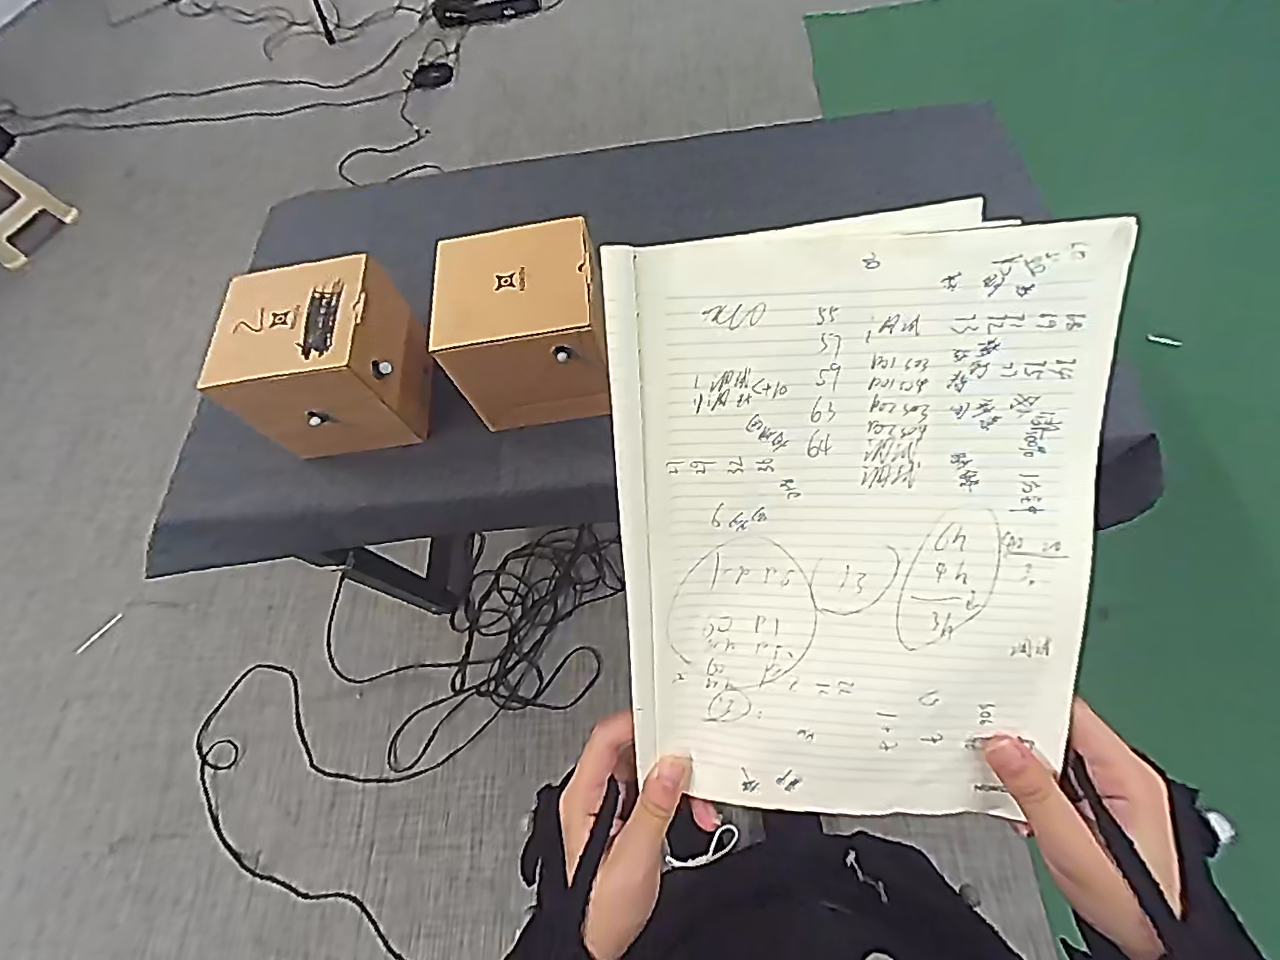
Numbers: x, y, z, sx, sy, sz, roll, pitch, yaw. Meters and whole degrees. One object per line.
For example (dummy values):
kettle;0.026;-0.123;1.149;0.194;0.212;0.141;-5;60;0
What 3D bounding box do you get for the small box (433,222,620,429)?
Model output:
small box;-0.129;-0.179;0.665;0.179;0.176;0.168;-8;64;4
